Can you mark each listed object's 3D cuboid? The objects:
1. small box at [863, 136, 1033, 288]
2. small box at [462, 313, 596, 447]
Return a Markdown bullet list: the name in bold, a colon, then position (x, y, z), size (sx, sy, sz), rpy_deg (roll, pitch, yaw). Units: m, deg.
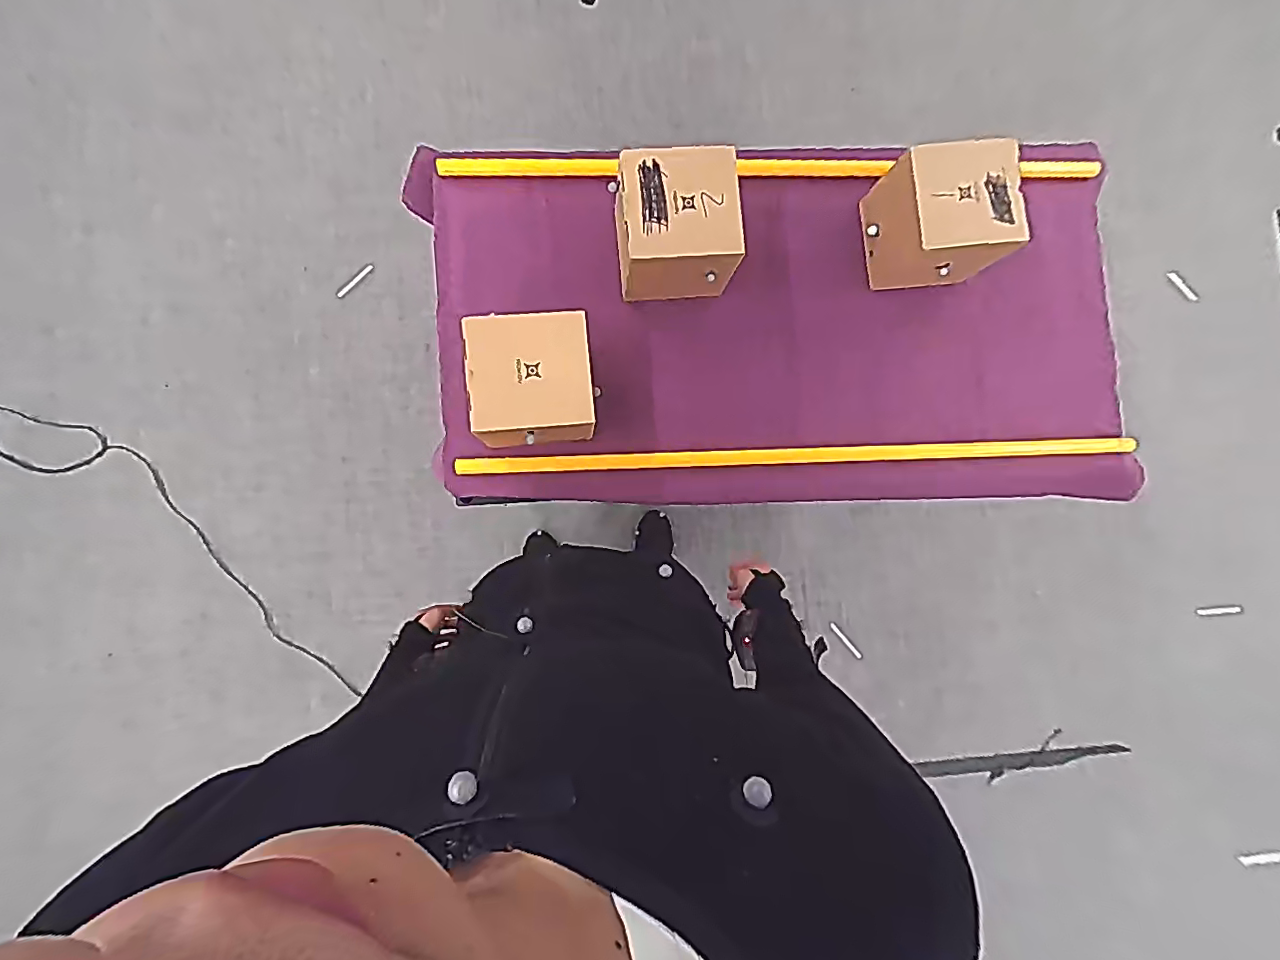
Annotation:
- **small box**: position (0.498, -0.433, 0.896), size (0.179, 0.176, 0.168), rpy_deg (-7, 89, -3)
- **small box**: position (-0.164, -0.146, 0.835), size (0.179, 0.176, 0.168), rpy_deg (-5, 87, -5)
